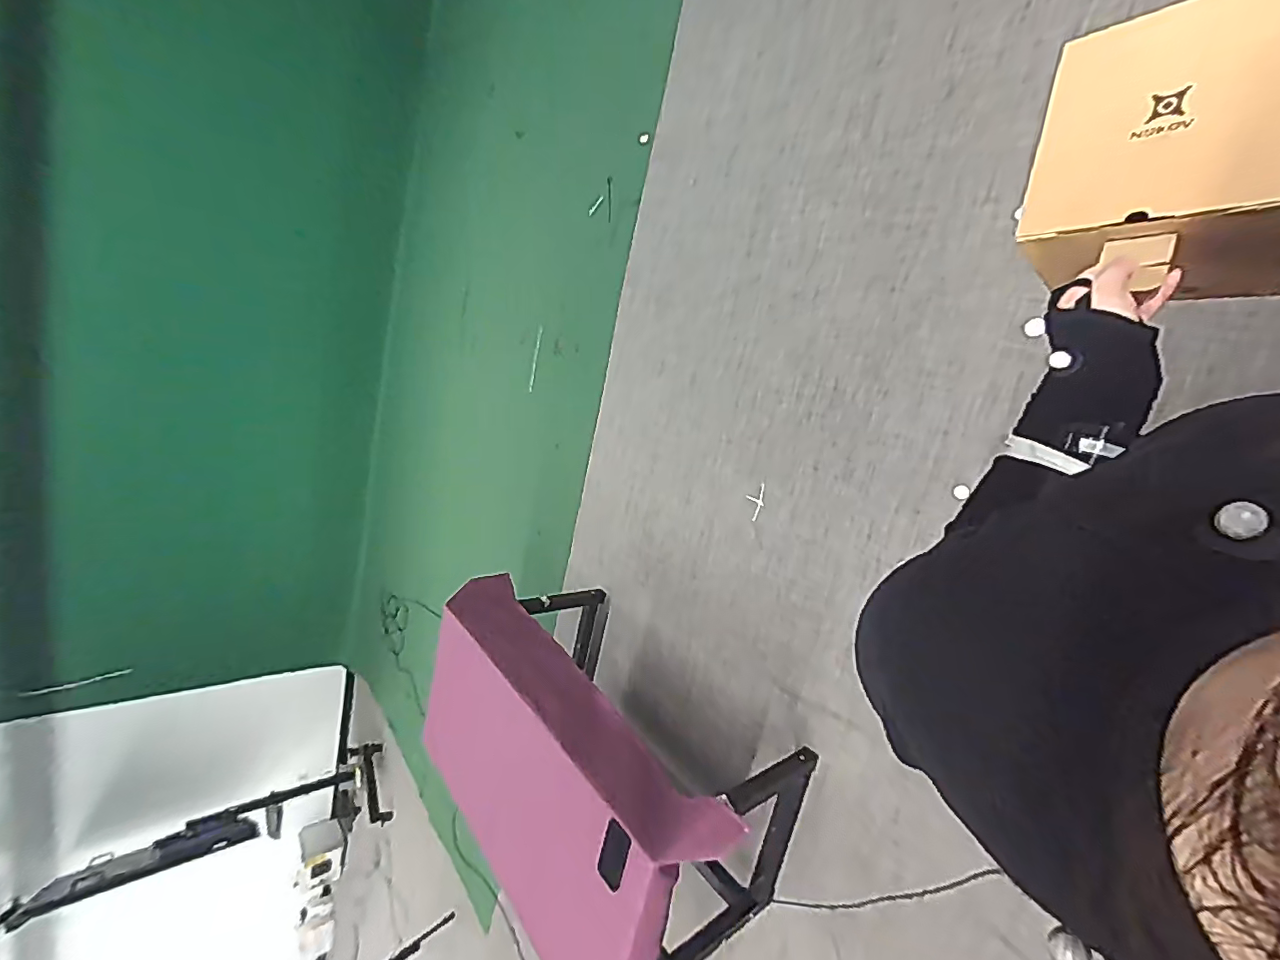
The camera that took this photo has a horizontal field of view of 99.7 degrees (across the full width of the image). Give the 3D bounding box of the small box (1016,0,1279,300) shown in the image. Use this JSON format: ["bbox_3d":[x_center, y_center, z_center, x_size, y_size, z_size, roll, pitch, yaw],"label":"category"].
[{"bbox_3d":[0.464,-0.274,0.470,0.168,0.176,0.179,17,96,49],"label":"small box"}]
